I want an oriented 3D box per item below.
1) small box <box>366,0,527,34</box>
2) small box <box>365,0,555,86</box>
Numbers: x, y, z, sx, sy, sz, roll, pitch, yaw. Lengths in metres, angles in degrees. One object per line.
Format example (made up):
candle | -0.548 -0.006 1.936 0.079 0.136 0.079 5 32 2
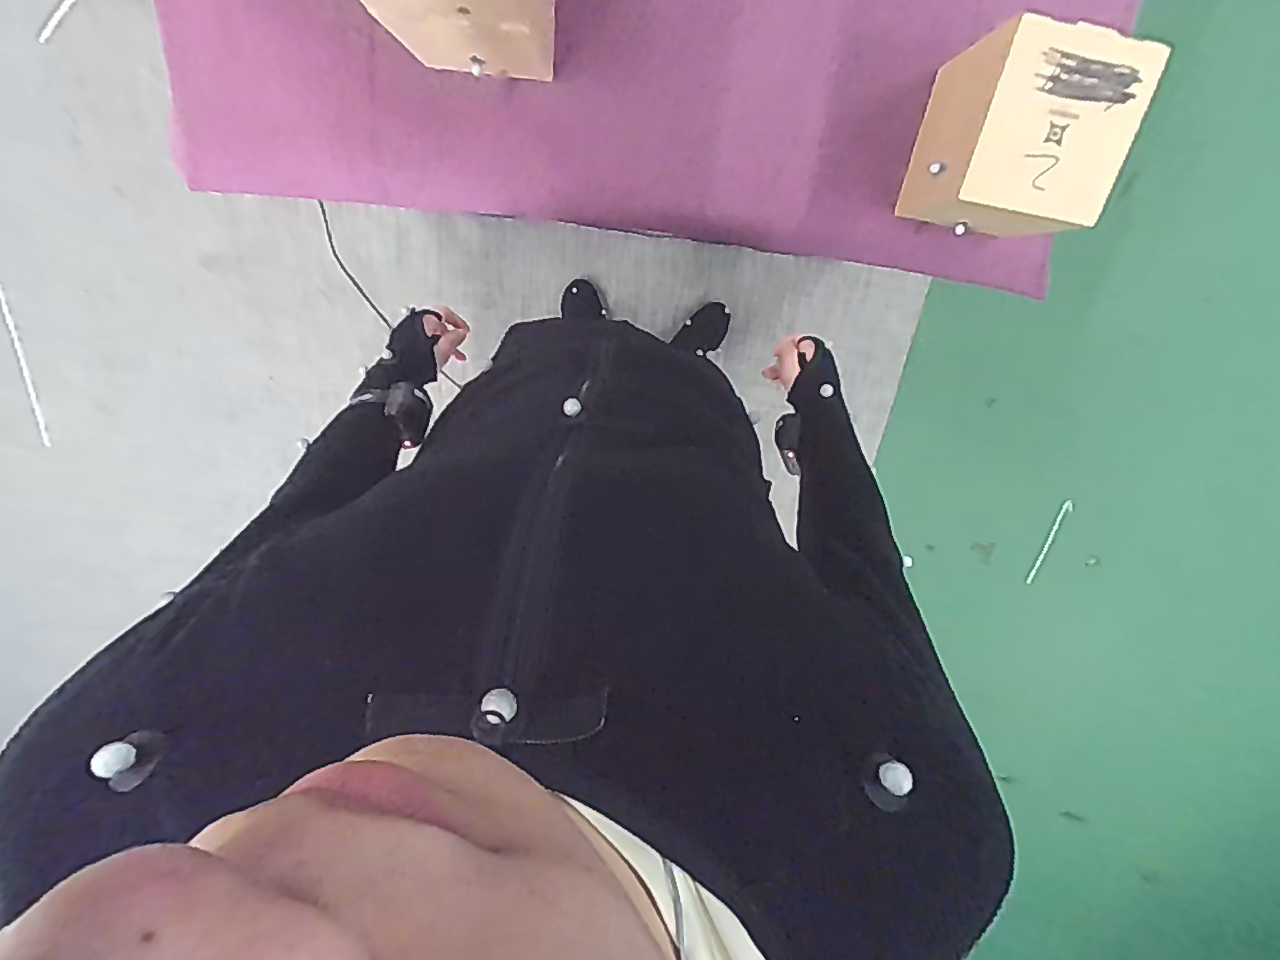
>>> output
small box | -0.186 -0.511 0.438 0.168 0.176 0.179 5 111 -2
small box | -0.187 -0.569 0.593 0.168 0.176 0.179 5 112 -2
